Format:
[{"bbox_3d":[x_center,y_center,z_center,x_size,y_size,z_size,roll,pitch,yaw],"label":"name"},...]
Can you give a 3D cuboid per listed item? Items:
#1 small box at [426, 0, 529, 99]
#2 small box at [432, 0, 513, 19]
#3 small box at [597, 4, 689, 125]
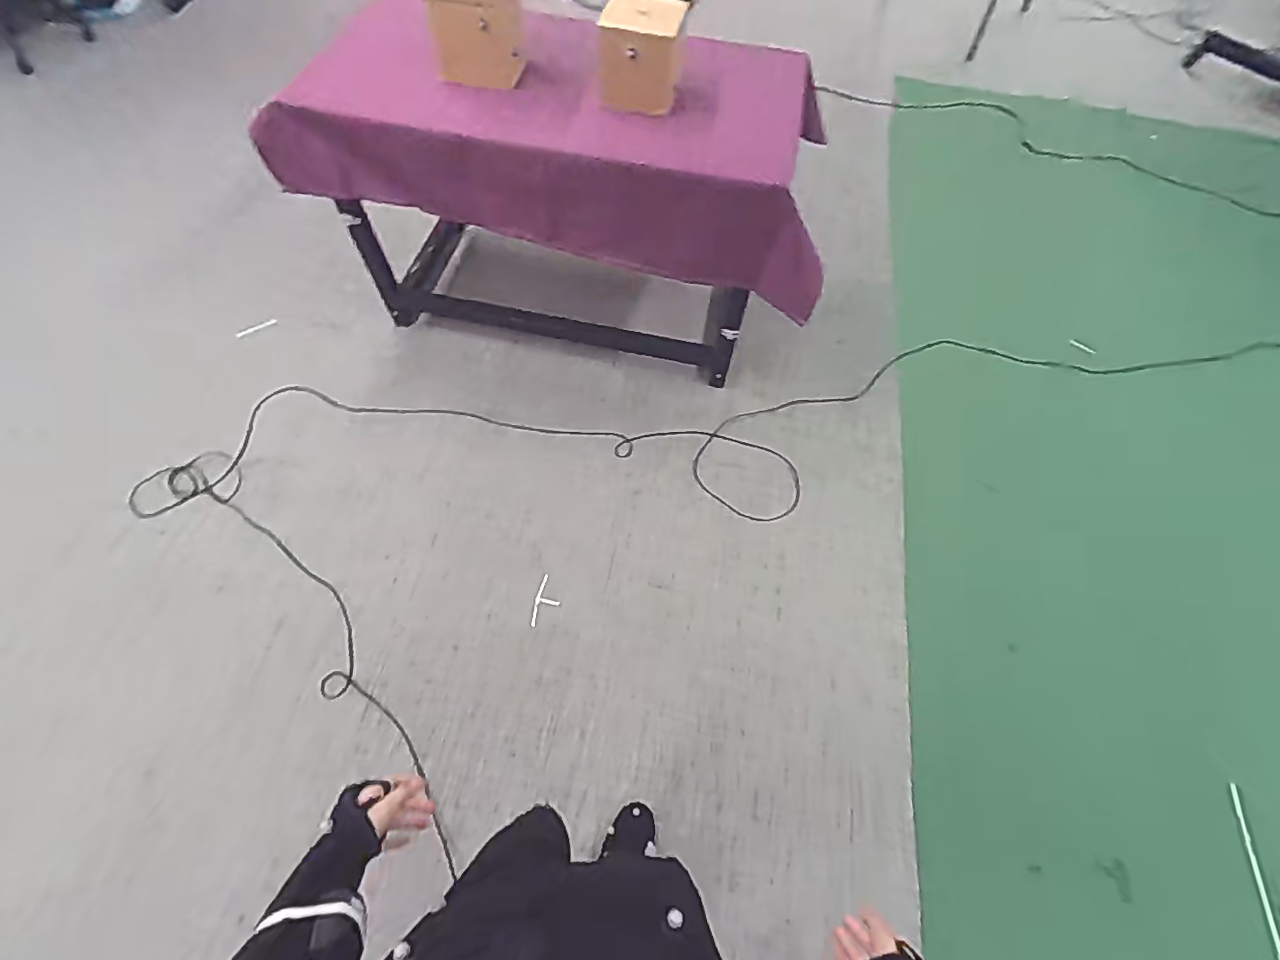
[{"bbox_3d":[-0.380,-1.053,1.300,0.179,0.176,0.168,10,61,2],"label":"small box"},{"bbox_3d":[-0.364,-1.135,1.157,0.168,0.176,0.179,10,61,3],"label":"small box"},{"bbox_3d":[0.005,-0.971,1.271,0.179,0.176,0.168,14,62,4],"label":"small box"}]
